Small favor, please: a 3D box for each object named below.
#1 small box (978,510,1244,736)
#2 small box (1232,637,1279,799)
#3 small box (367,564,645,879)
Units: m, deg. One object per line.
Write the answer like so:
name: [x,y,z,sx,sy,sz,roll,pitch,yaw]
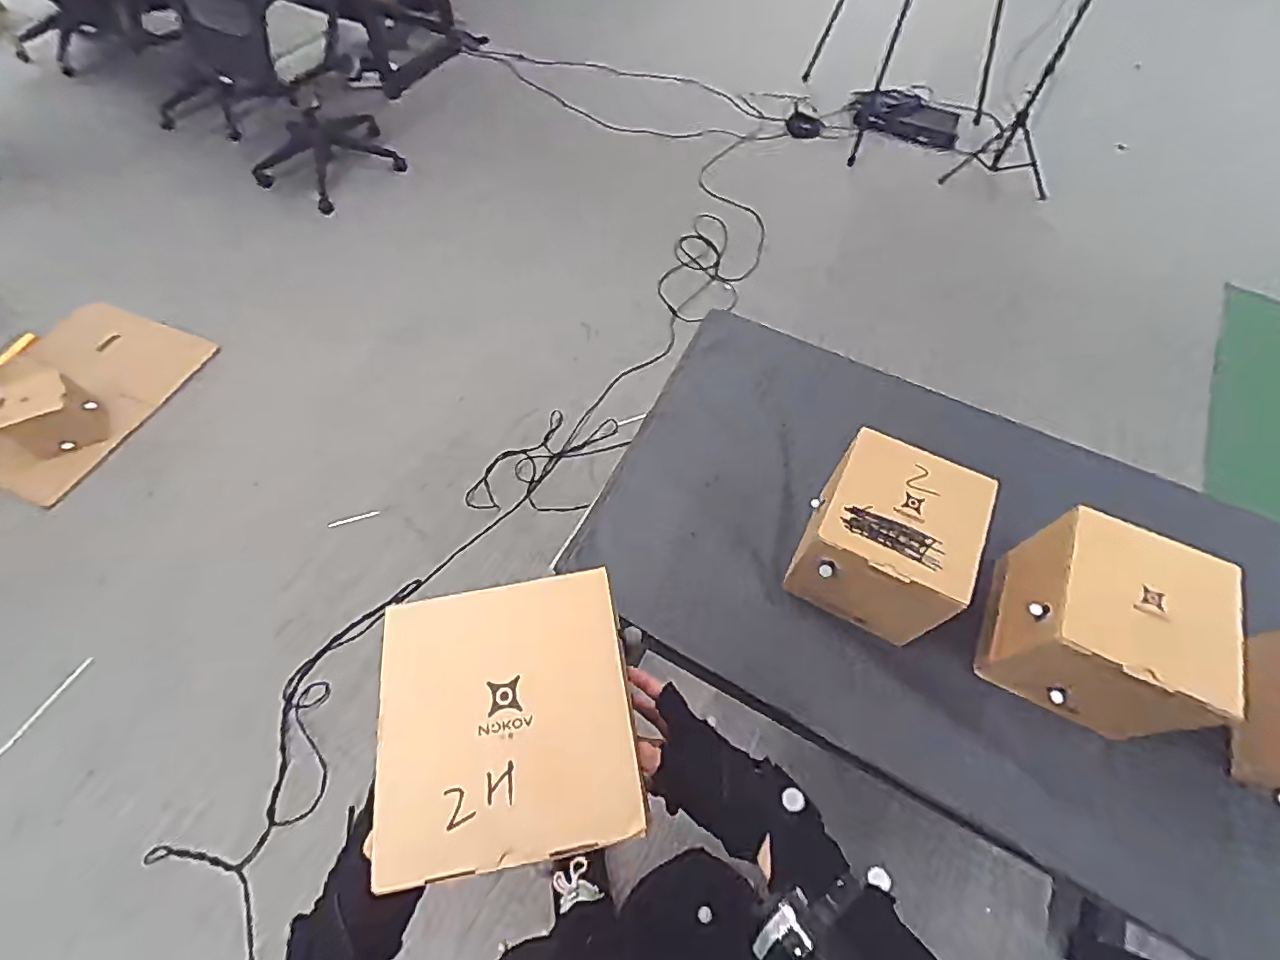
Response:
small box: [0.530,0.171,0.630,0.168,0.176,0.179,25,63,13]
small box: [0.786,0.272,0.567,0.168,0.176,0.179,24,62,14]
small box: [-0.090,0.188,0.429,0.168,0.176,0.179,-9,61,-3]
